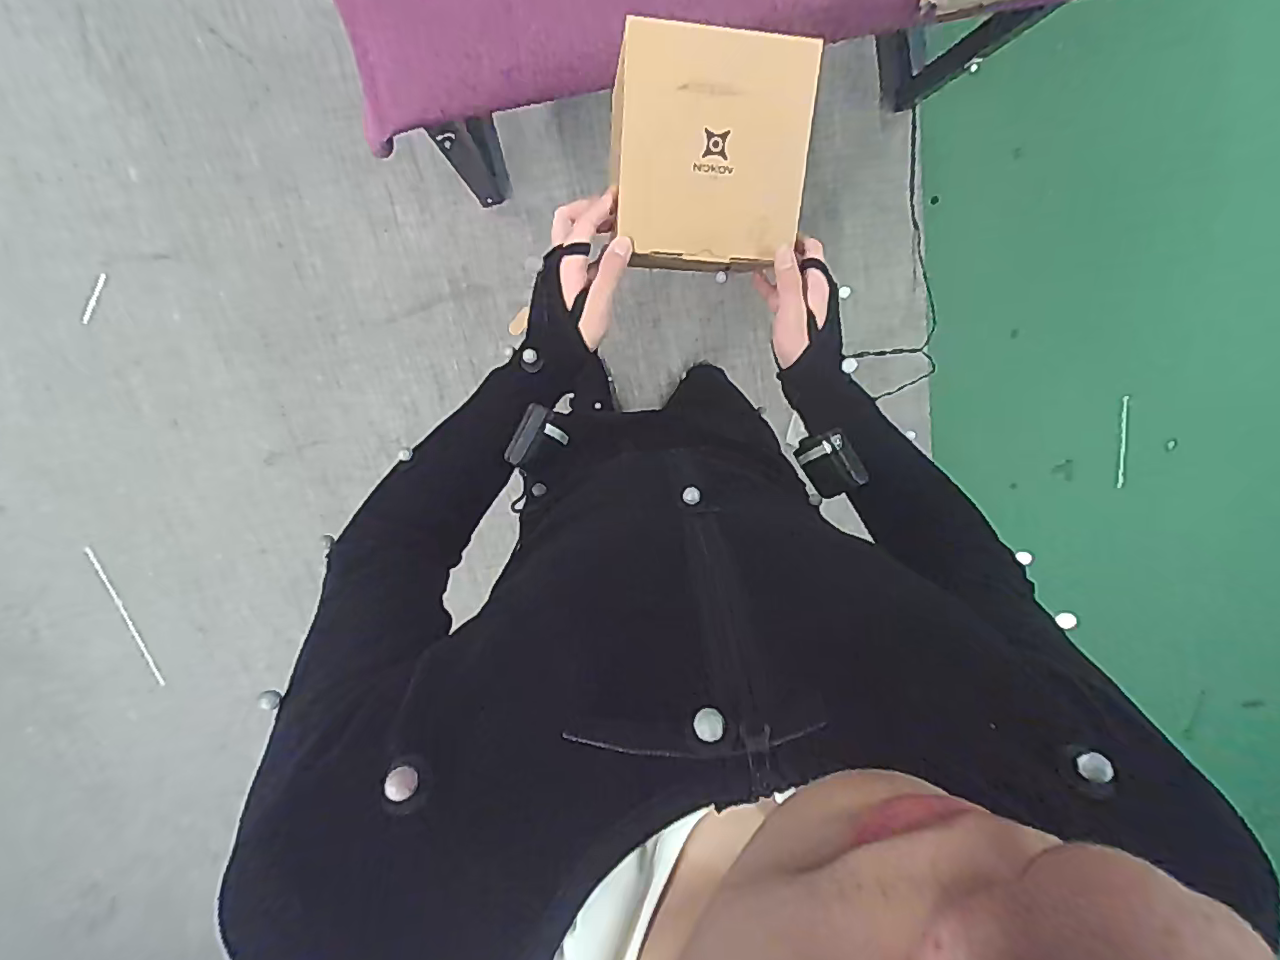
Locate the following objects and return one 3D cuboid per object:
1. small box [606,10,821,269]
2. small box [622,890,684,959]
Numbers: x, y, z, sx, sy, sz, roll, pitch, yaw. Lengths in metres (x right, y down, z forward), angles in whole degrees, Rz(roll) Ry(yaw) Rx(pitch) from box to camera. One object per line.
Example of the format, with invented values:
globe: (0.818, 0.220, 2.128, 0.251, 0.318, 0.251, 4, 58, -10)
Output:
small box: (0.055, -0.310, 0.536, 0.168, 0.176, 0.179, 2, 107, -7)
small box: (0.034, 1.345, 1.587, 0.168, 0.176, 0.179, -2, 103, -5)
